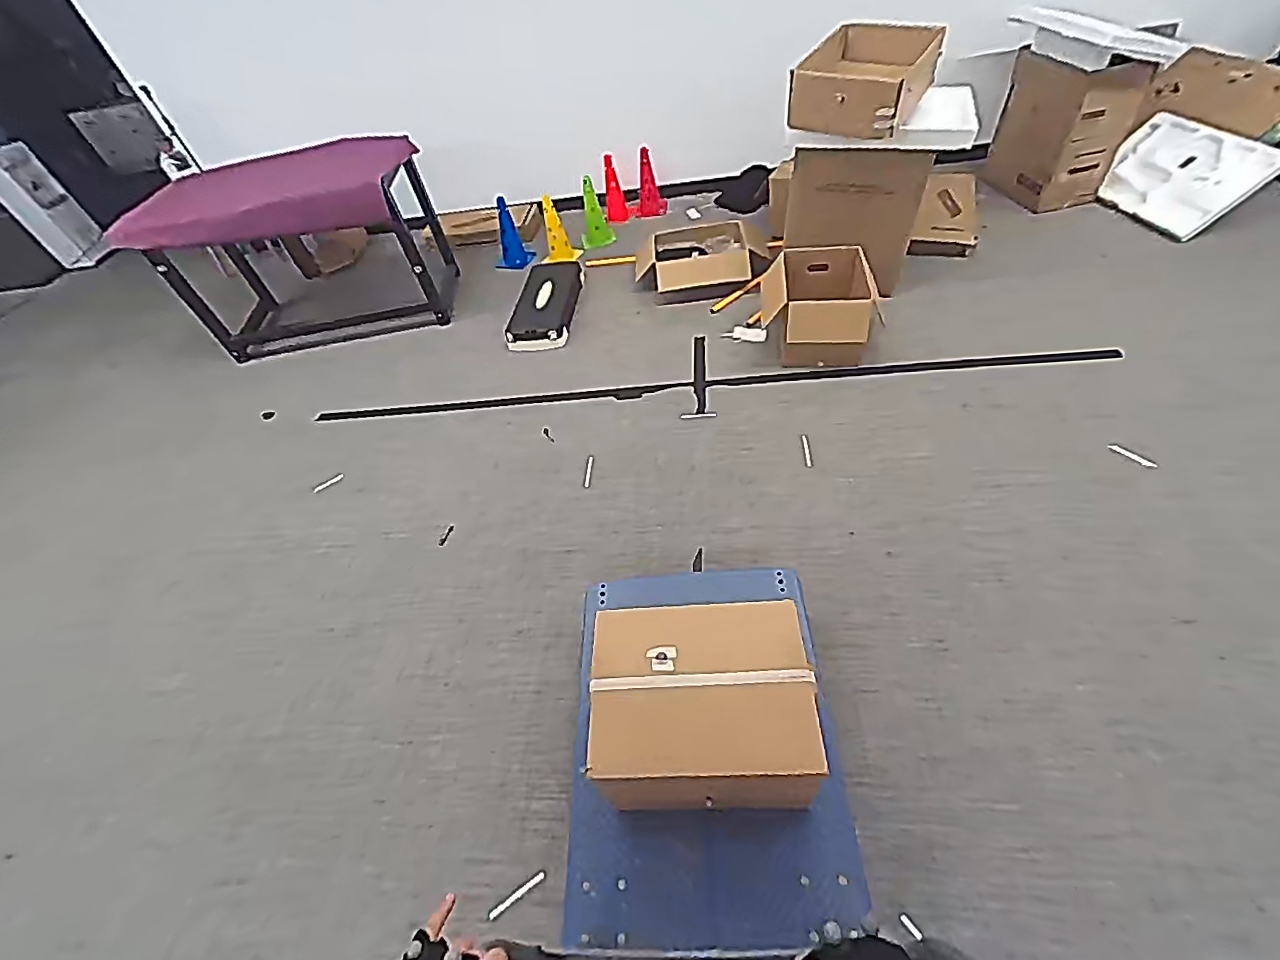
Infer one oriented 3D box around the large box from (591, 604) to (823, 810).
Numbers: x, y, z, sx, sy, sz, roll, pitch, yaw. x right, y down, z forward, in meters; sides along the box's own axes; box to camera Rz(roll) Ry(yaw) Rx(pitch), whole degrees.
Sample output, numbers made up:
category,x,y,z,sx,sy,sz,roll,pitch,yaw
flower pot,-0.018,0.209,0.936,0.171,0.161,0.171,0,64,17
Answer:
category,x,y,z,sx,sy,sz,roll,pitch,yaw
large box,0.132,0.483,1.127,0.408,0.320,0.320,-6,48,7
